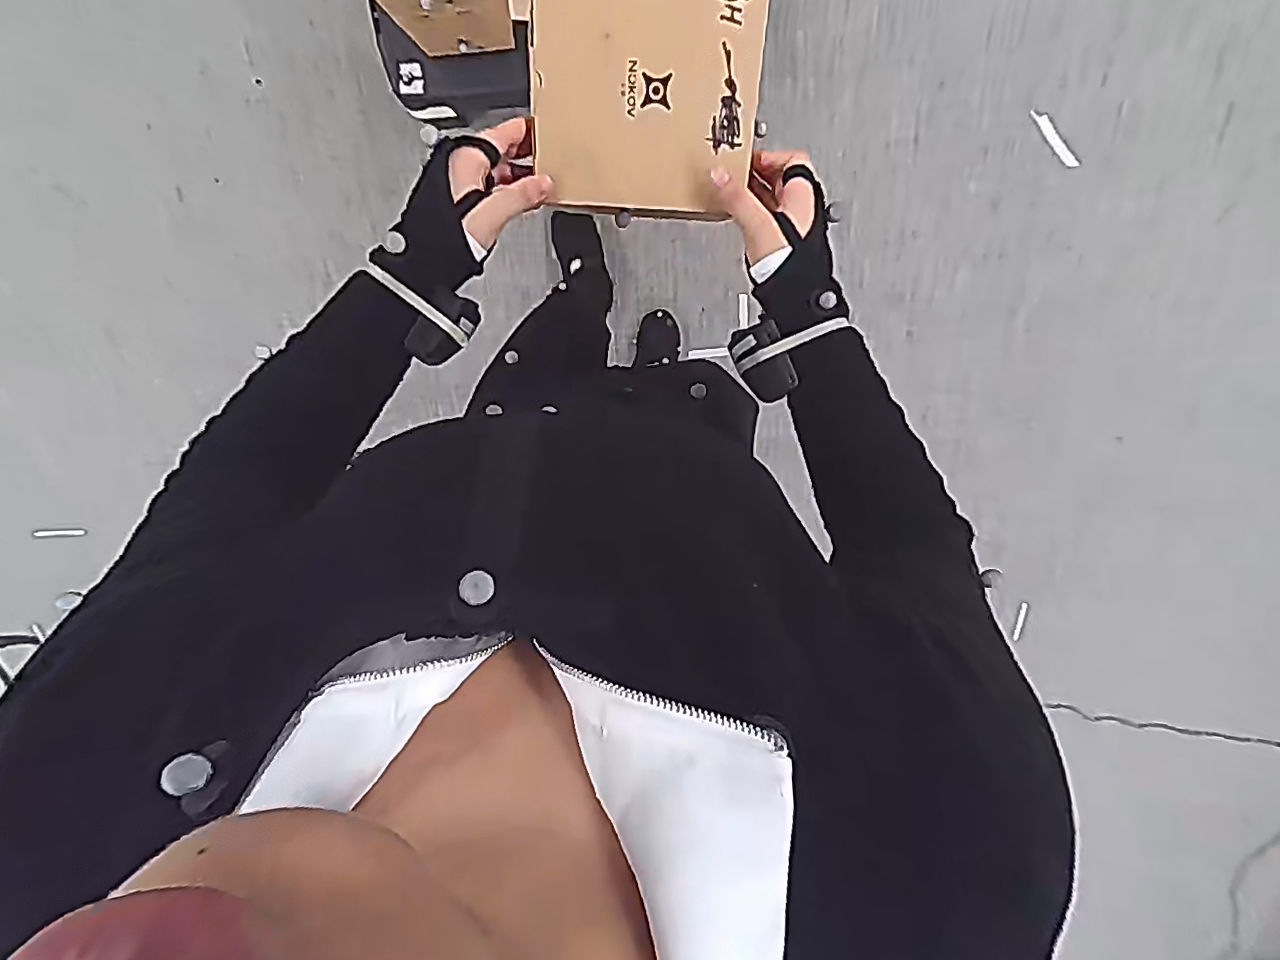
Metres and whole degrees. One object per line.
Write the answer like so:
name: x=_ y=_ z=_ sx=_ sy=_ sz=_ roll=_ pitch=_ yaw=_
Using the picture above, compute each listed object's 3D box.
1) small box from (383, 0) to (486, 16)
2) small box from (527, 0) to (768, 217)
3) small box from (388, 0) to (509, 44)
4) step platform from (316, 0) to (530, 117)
small box: x=-0.324 y=-0.791 z=0.746 sx=0.168 sy=0.176 sz=0.179 roll=-5 pitch=112 yaw=2
small box: x=0.005 y=-0.333 z=0.481 sx=0.179 sy=0.176 sz=0.168 roll=4 pitch=113 yaw=0
small box: x=-0.321 y=-0.846 z=0.901 sx=0.168 sy=0.176 sz=0.179 roll=-4 pitch=111 yaw=2
step platform: x=-0.154 y=-0.799 z=0.882 sx=0.684 sy=0.204 sz=0.286 roll=-4 pitch=111 yaw=1
